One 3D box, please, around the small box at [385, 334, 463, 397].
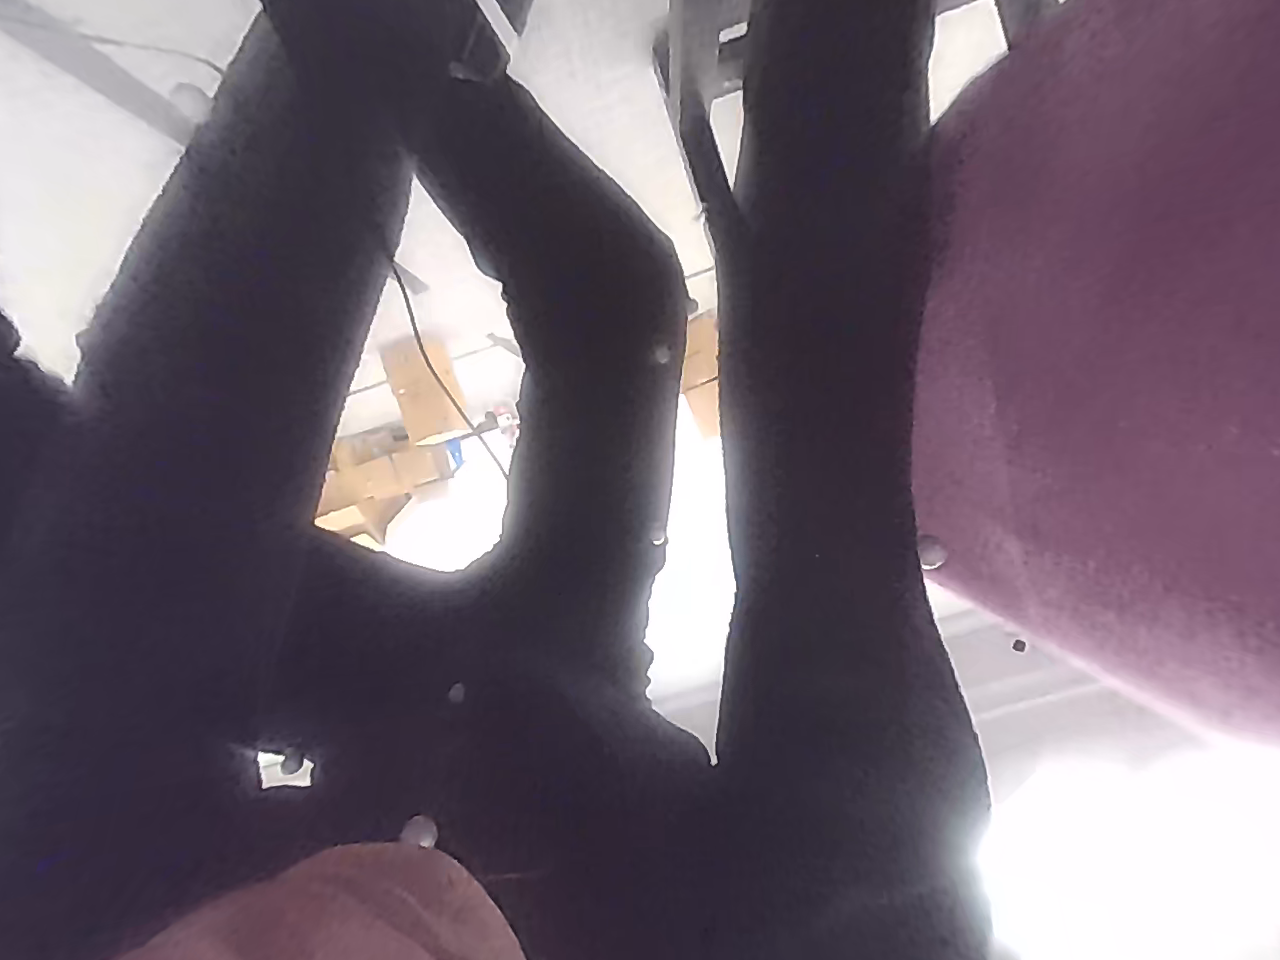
[{"bbox_3d":[-0.745,-0.396,1.876,0.168,0.176,0.179,-17,-178,8],"label":"small box"}]
